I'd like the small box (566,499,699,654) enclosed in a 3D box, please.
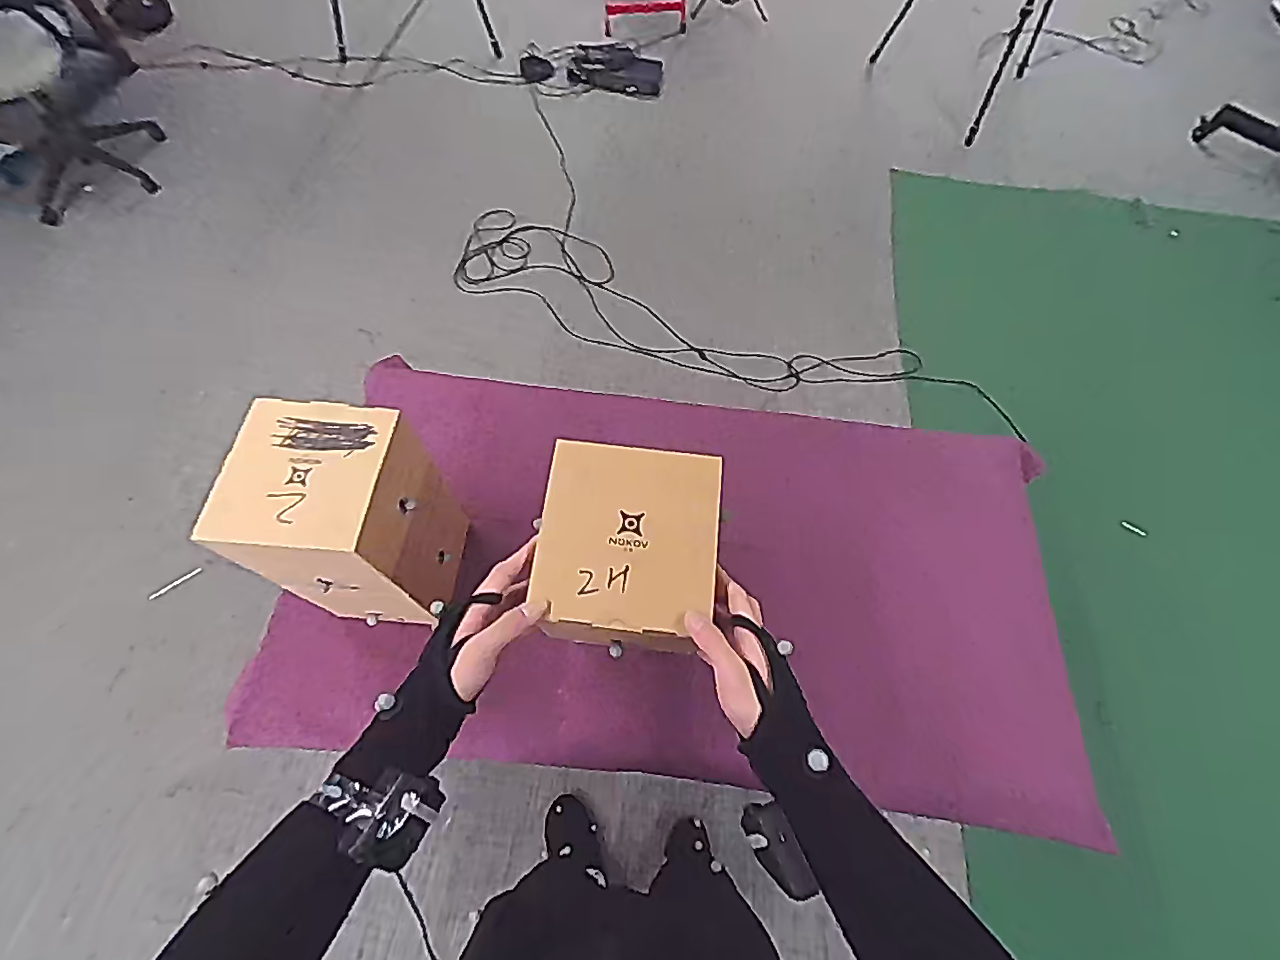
[{"bbox_3d":[-0.008,0.148,0.790,0.168,0.176,0.179,6,61,0],"label":"small box"}]

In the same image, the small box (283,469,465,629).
[{"bbox_3d":[-0.366,0.105,0.788,0.168,0.176,0.179,5,63,-1],"label":"small box"}]
